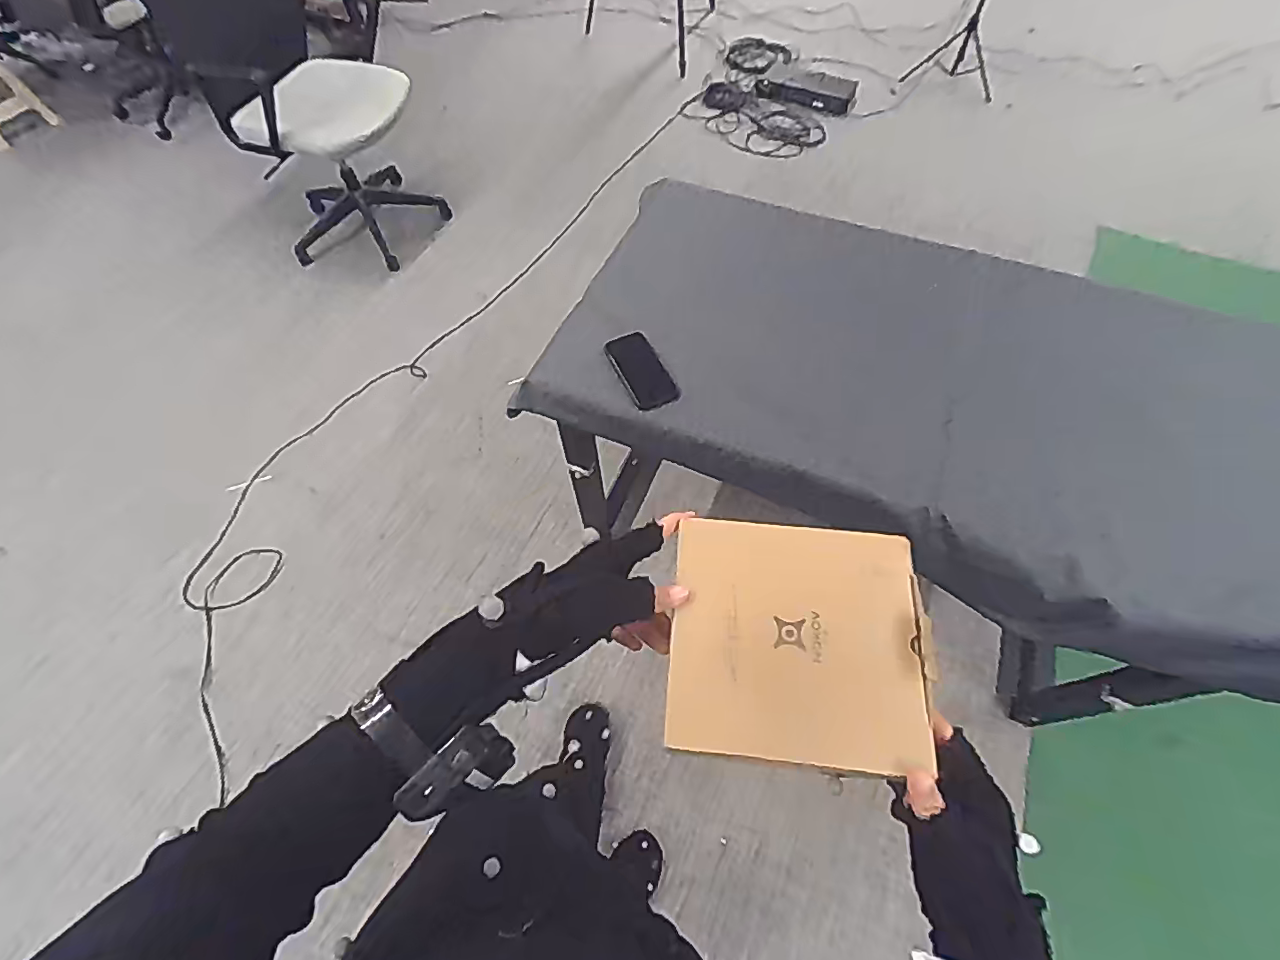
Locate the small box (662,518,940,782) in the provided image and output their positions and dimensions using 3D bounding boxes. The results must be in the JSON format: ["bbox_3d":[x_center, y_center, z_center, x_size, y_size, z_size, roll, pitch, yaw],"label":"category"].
[{"bbox_3d":[0.113,0.145,0.448,0.179,0.176,0.168,4,61,5],"label":"small box"}]
